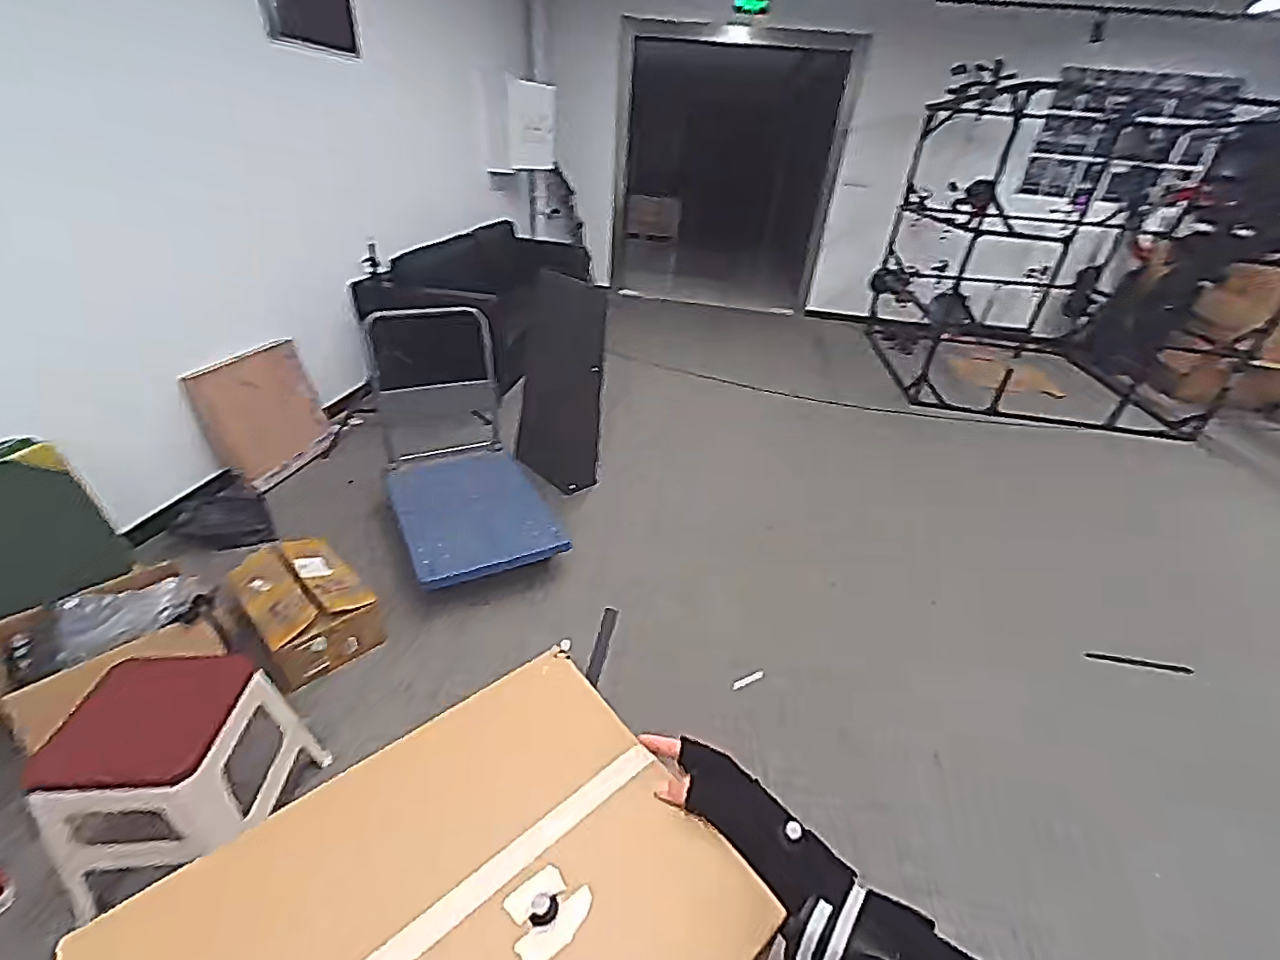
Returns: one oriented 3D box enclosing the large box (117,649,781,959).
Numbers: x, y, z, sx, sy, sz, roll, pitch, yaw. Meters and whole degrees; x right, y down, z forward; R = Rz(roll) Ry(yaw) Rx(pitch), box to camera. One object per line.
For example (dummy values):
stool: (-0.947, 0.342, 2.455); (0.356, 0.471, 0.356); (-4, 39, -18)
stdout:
large box: (-0.138, 0.444, 0.483); (0.408, 0.320, 0.320); (-23, 40, -32)
